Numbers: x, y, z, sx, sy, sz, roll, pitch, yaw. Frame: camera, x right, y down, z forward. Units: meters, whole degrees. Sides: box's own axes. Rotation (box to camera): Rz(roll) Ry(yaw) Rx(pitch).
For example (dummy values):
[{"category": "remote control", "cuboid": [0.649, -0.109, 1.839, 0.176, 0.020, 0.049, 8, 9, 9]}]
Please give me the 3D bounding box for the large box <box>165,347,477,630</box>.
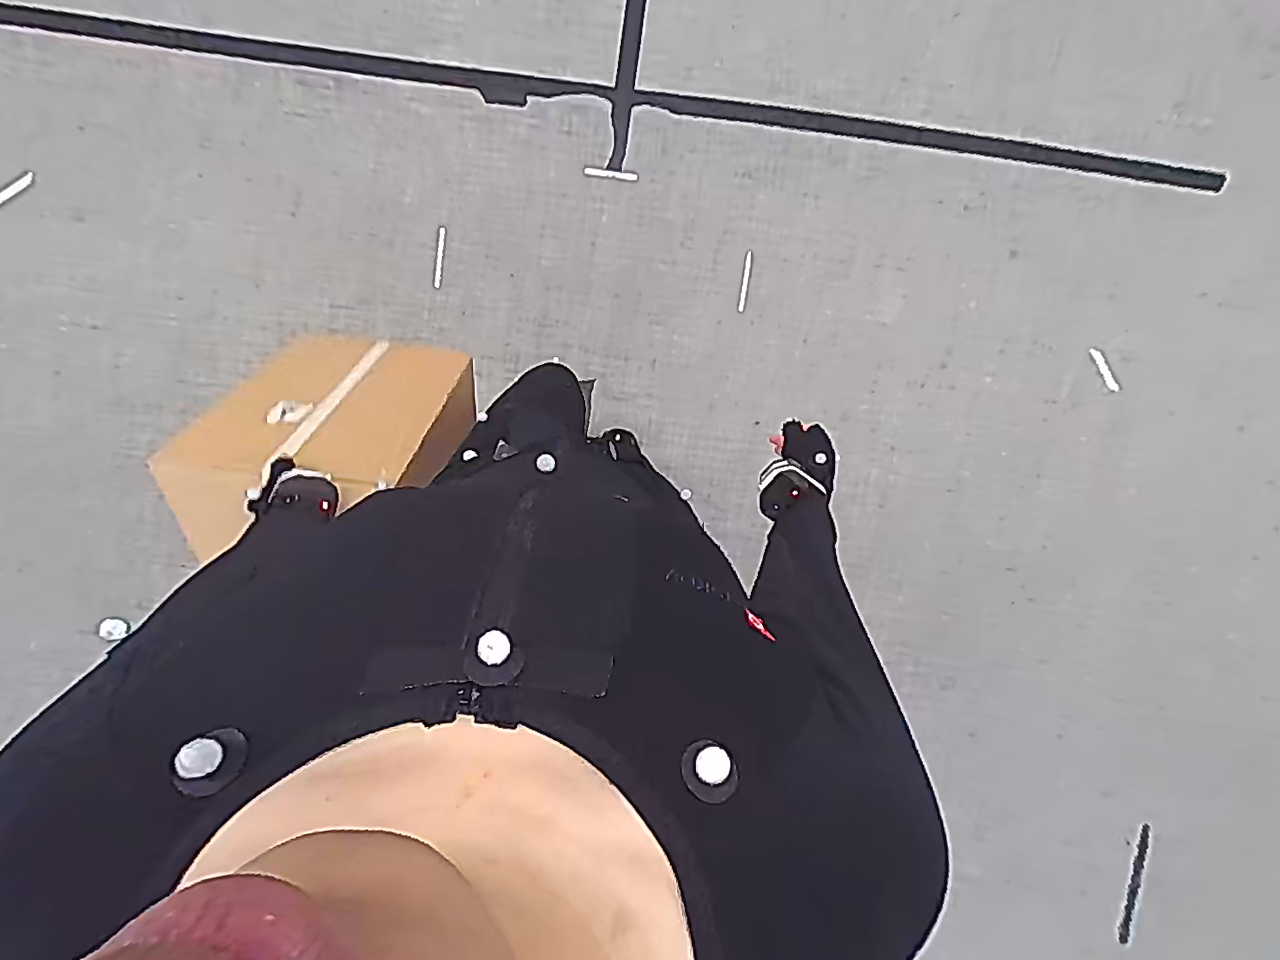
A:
[{"category": "large box", "cuboid": [-0.495, 0.001, 0.965, 0.320, 0.408, 0.320, 5, 128, -3]}]
